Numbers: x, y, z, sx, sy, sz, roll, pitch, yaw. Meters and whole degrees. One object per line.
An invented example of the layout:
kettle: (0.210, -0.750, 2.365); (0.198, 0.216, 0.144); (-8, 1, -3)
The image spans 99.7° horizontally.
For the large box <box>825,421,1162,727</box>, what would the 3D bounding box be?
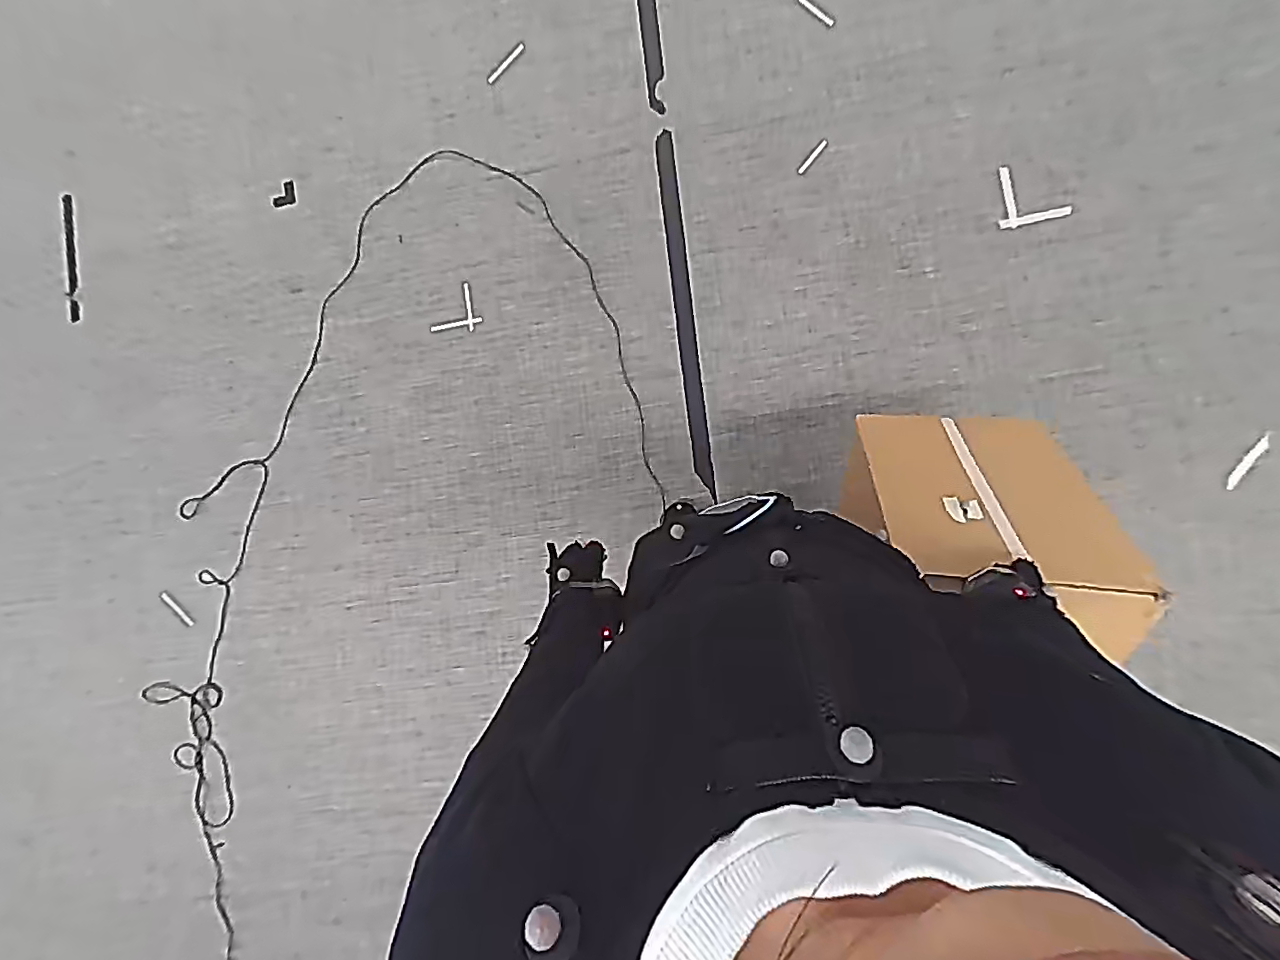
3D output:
large box: (0.523, 0.139, 0.926); (0.320, 0.408, 0.320); (3, 128, 9)
